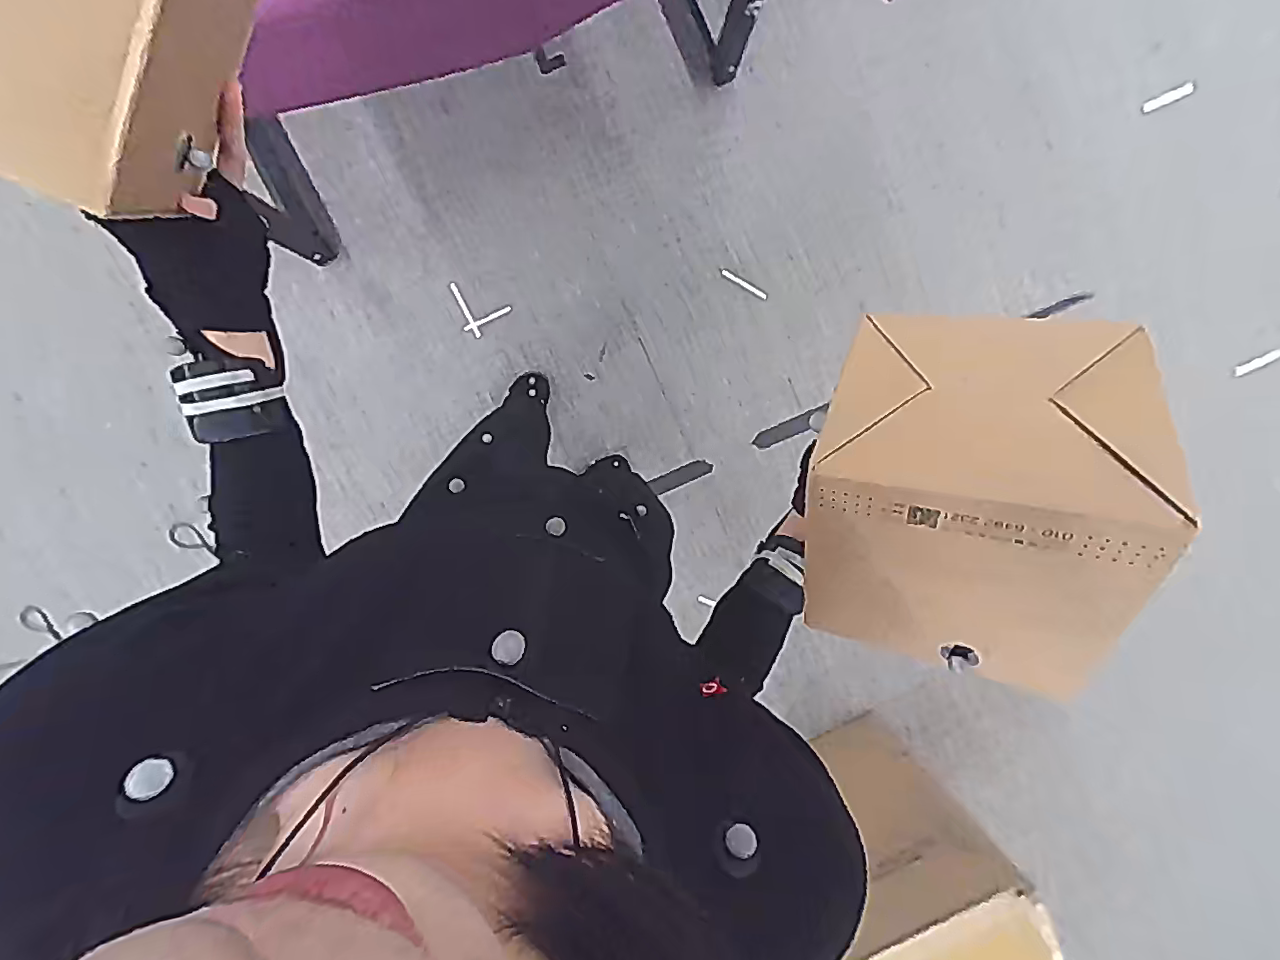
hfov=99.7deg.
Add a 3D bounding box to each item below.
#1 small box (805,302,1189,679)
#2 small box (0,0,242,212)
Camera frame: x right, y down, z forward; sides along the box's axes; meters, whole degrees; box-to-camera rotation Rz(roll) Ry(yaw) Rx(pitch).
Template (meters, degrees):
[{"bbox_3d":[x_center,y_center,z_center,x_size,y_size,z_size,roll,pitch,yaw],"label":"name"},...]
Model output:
[{"bbox_3d":[0.213,-0.005,0.361,0.168,0.179,0.176,10,139,27],"label":"small box"},{"bbox_3d":[-0.313,-0.254,0.255,0.168,0.179,0.176,18,103,-33],"label":"small box"}]
